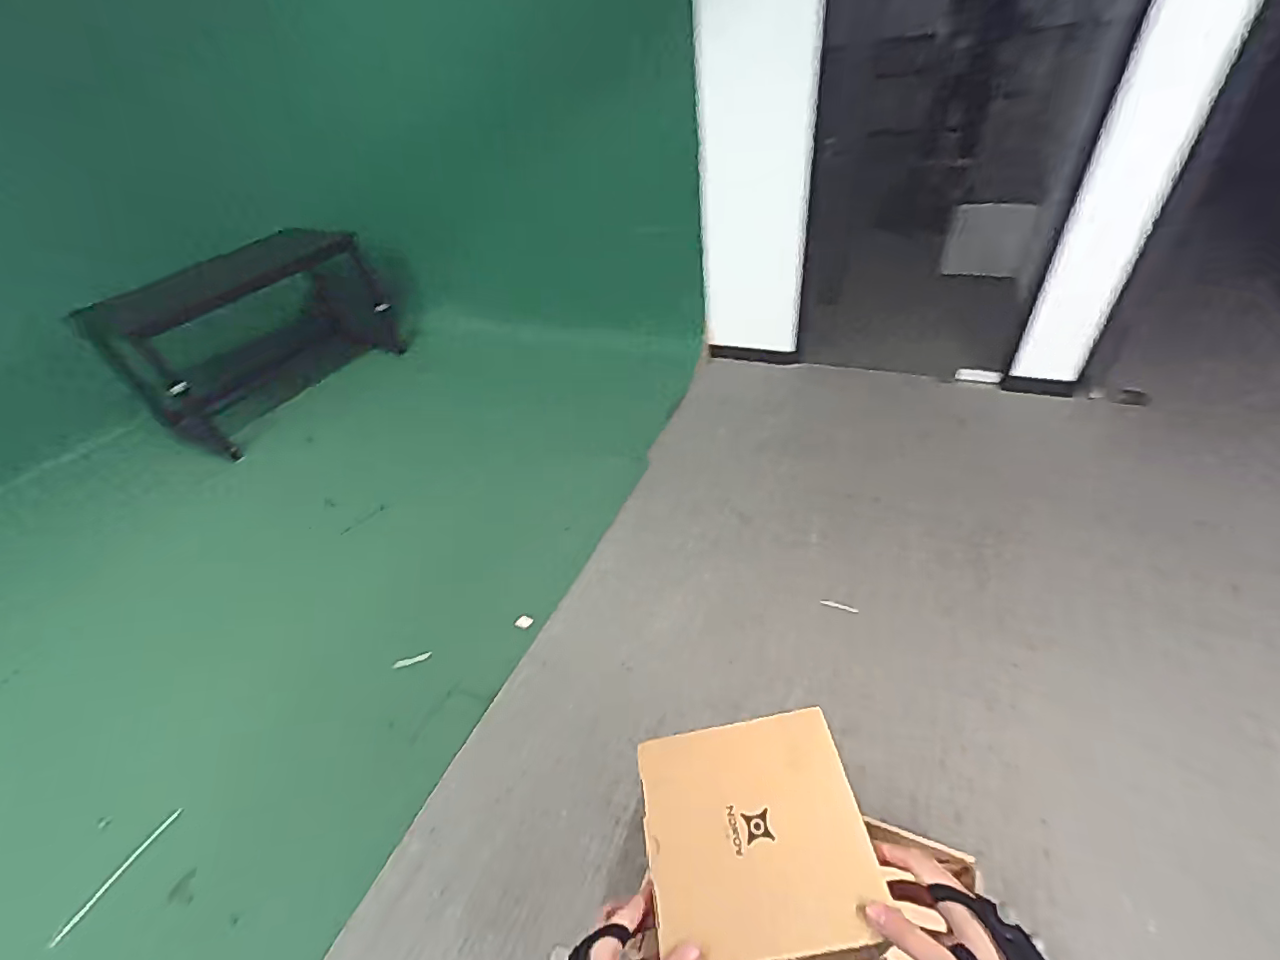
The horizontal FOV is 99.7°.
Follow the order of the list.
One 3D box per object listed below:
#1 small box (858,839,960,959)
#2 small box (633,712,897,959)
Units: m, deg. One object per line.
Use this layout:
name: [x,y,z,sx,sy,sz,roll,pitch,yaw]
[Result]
small box: [0.439,0.765,0.930,0.168,0.176,0.179,8,45,21]
small box: [0.103,0.341,0.494,0.179,0.176,0.168,-15,43,3]
